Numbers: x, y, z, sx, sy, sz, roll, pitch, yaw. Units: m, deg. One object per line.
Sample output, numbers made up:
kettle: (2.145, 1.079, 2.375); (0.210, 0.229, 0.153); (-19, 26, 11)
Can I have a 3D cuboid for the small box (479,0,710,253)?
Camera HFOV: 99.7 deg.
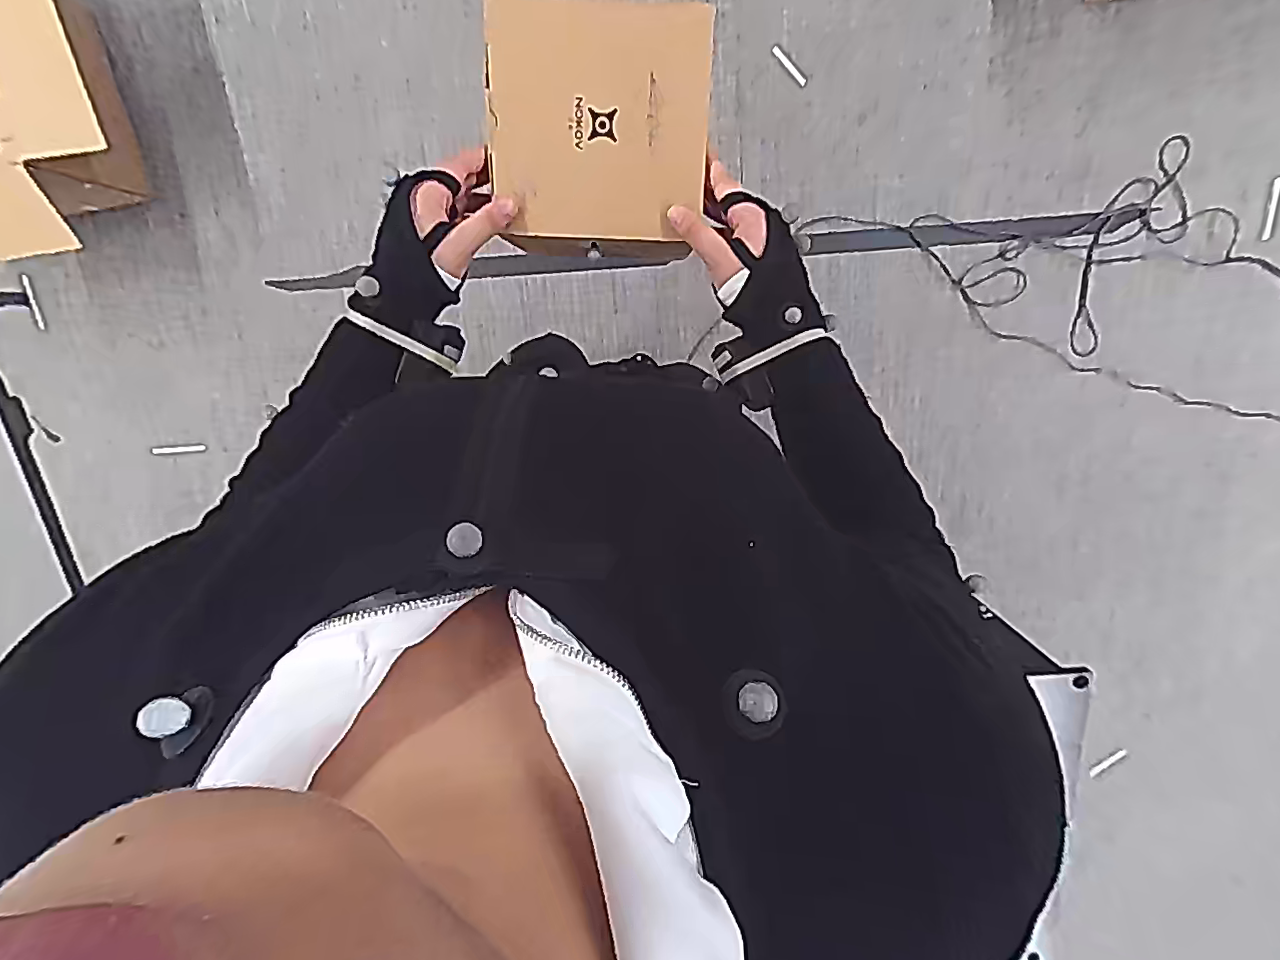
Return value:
small box: (-0.036, -0.308, 0.501); (0.179, 0.176, 0.168); (1, 107, -1)
